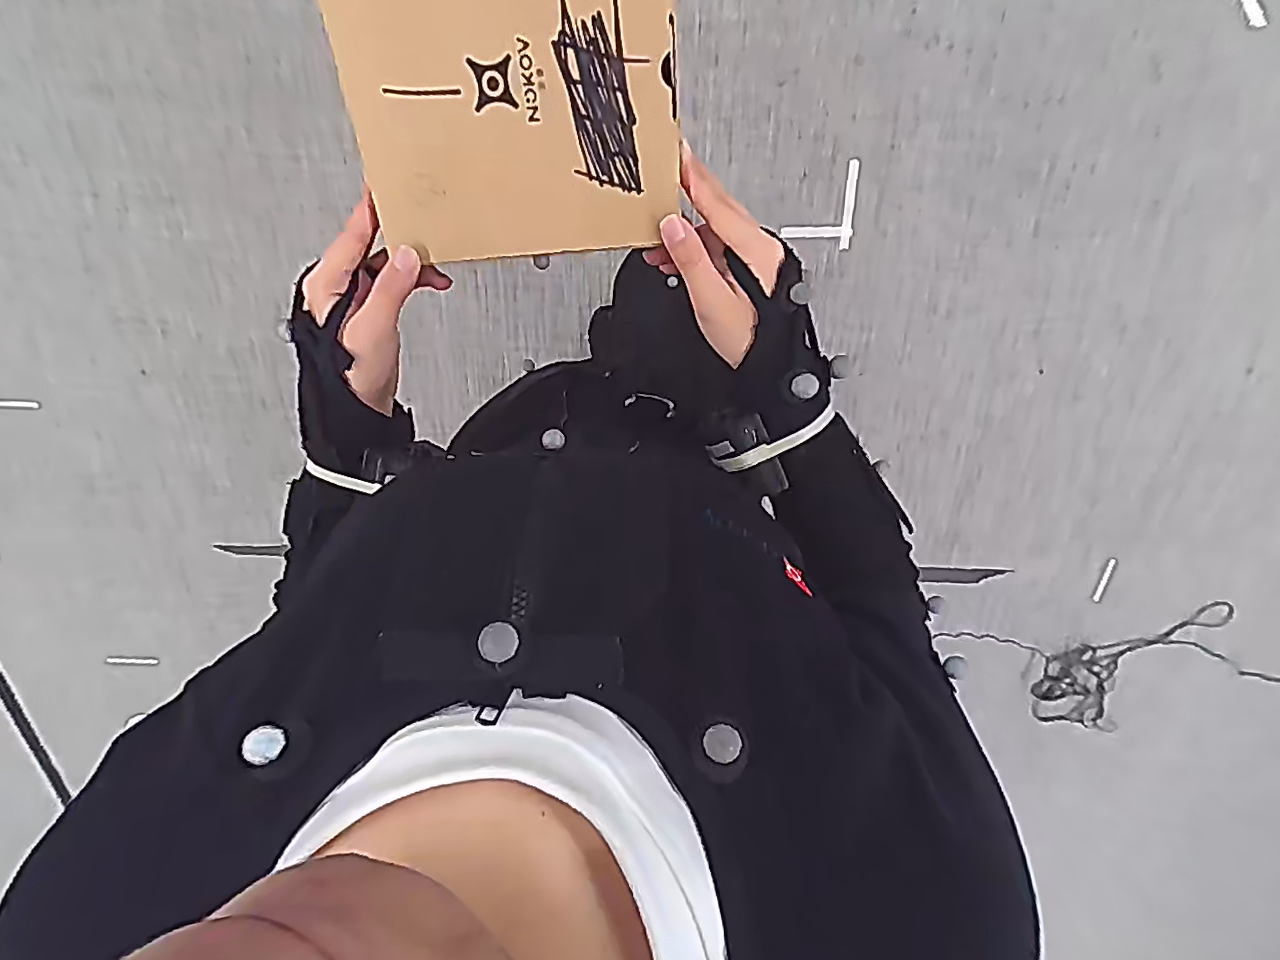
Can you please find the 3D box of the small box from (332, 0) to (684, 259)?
[{"bbox_3d":[-0.068,-0.249,0.359,0.179,0.176,0.168,-4,118,1],"label":"small box"}]
